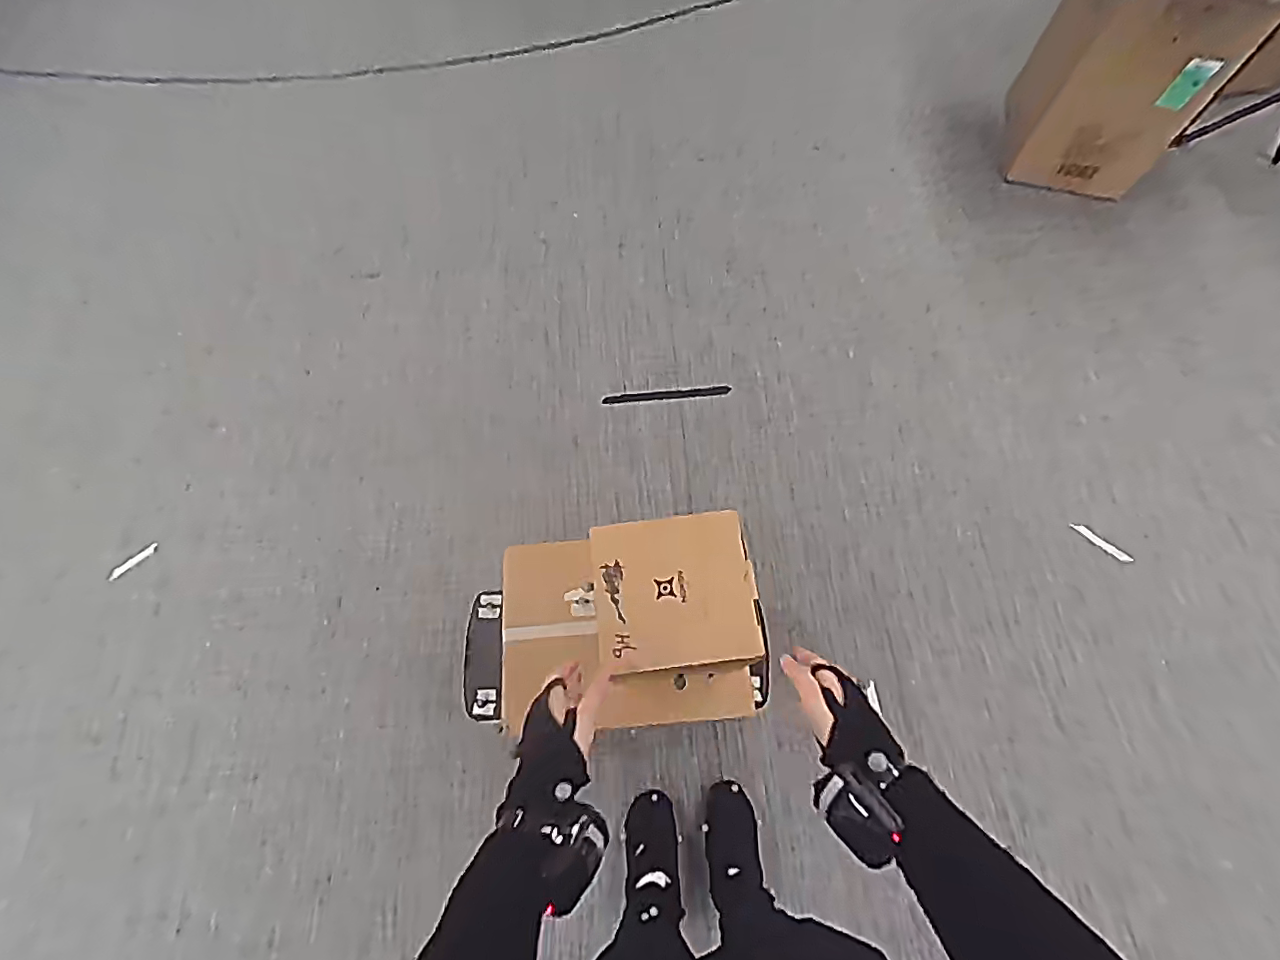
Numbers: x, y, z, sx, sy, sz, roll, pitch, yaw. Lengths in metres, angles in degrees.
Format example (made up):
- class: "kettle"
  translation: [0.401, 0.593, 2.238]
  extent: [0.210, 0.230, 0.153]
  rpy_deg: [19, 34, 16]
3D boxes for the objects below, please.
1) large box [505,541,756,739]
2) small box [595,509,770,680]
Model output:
- class: "large box"
  translation: [-0.020, 0.302, 1.040]
  extent: [0.408, 0.320, 0.320]
  rpy_deg: [-5, 66, 0]
- class: "small box"
  translation: [0.041, 0.146, 0.660]
  extent: [0.179, 0.176, 0.168]
  rpy_deg: [-6, 66, -2]
